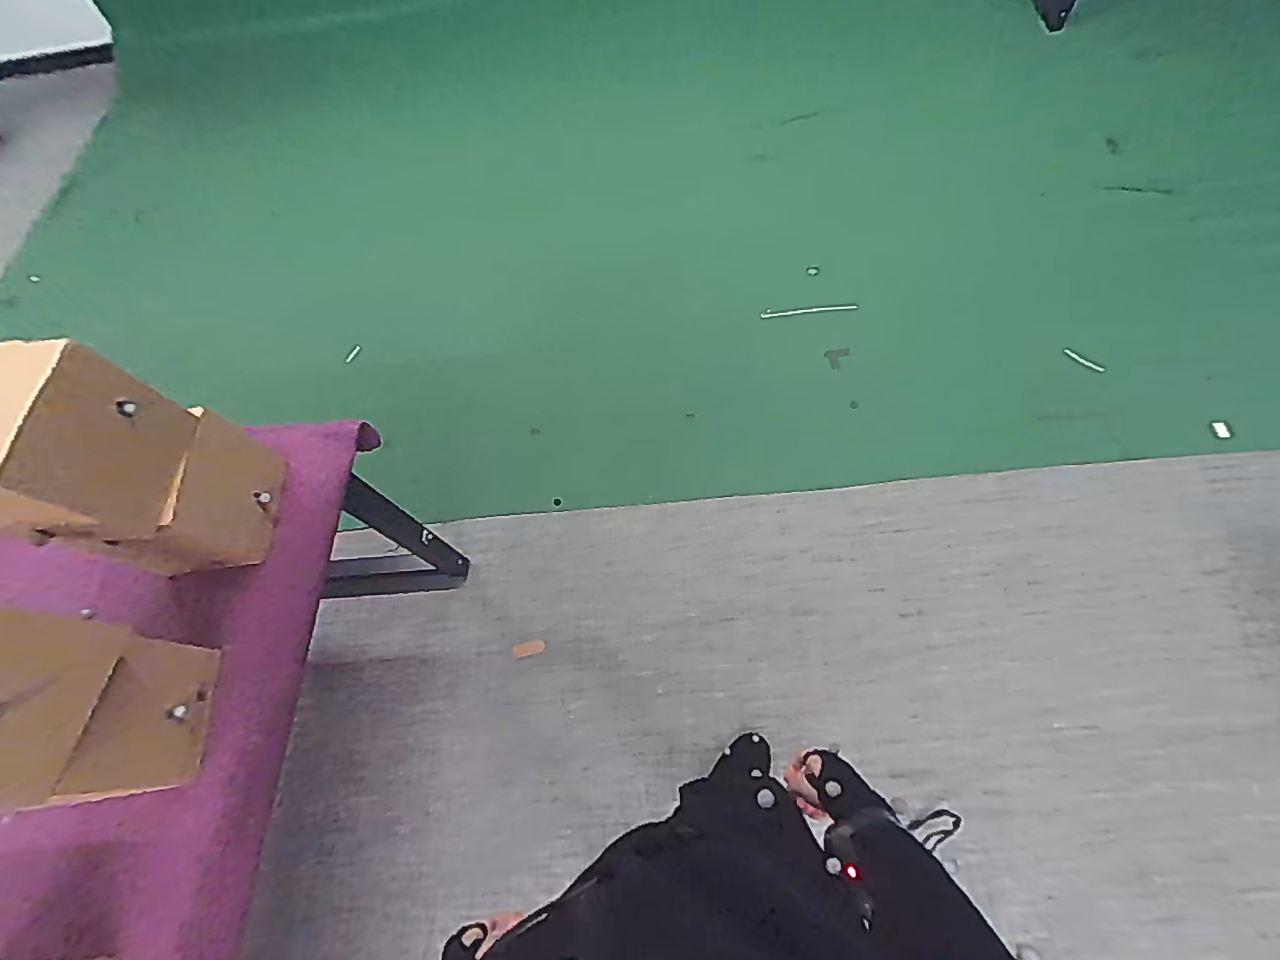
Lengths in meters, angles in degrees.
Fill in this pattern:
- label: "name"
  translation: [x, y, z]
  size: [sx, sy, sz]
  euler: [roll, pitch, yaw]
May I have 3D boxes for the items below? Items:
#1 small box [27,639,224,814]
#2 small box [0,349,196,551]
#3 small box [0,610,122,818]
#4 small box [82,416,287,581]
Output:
- label: "small box"
  translation: [-0.664, 0.301, 0.652]
  size: [0.179, 0.176, 0.168]
  euler: [-11, 64, 3]
- label: "small box"
  translation: [-0.677, -0.028, 0.630]
  size: [0.168, 0.176, 0.179]
  euler: [-3, 65, 6]
- label: "small box"
  translation: [-0.662, 0.213, 0.511]
  size: [0.168, 0.176, 0.179]
  euler: [2, 65, 10]
- label: "small box"
  translation: [-0.651, 0.033, 0.781]
  size: [0.168, 0.176, 0.179]
  euler: [-8, 64, 4]
